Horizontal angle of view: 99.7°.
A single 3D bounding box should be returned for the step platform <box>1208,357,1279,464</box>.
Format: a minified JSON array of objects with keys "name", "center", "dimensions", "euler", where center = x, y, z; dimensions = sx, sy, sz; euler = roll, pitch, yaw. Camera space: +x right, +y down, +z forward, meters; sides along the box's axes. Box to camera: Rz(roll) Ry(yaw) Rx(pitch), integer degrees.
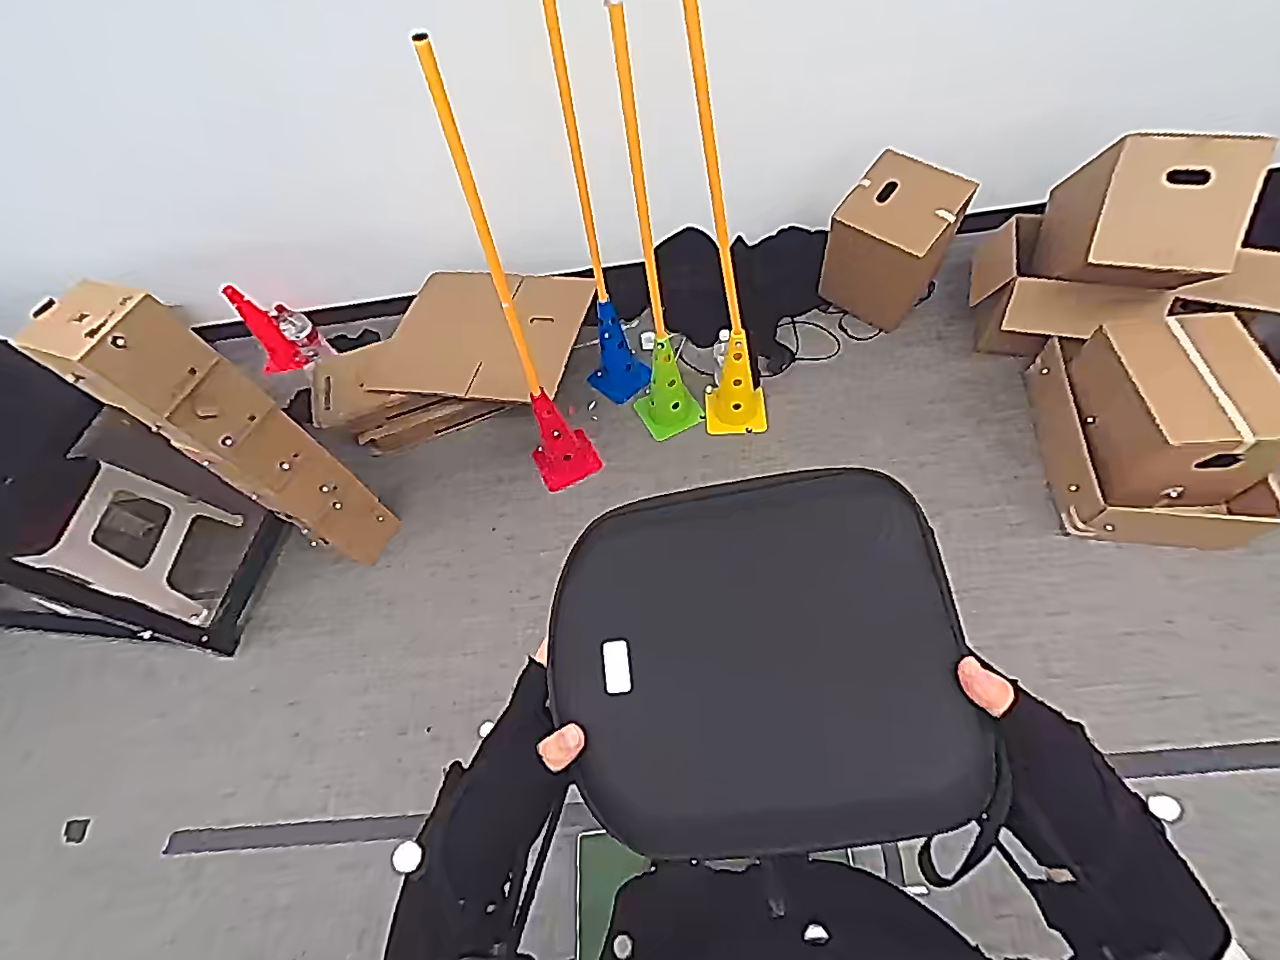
[{"name":"step platform","center":[2.038,-0.302,1.554],"dimensions":[0.684,0.204,0.286],"euler":[-32,60,-11]}]
